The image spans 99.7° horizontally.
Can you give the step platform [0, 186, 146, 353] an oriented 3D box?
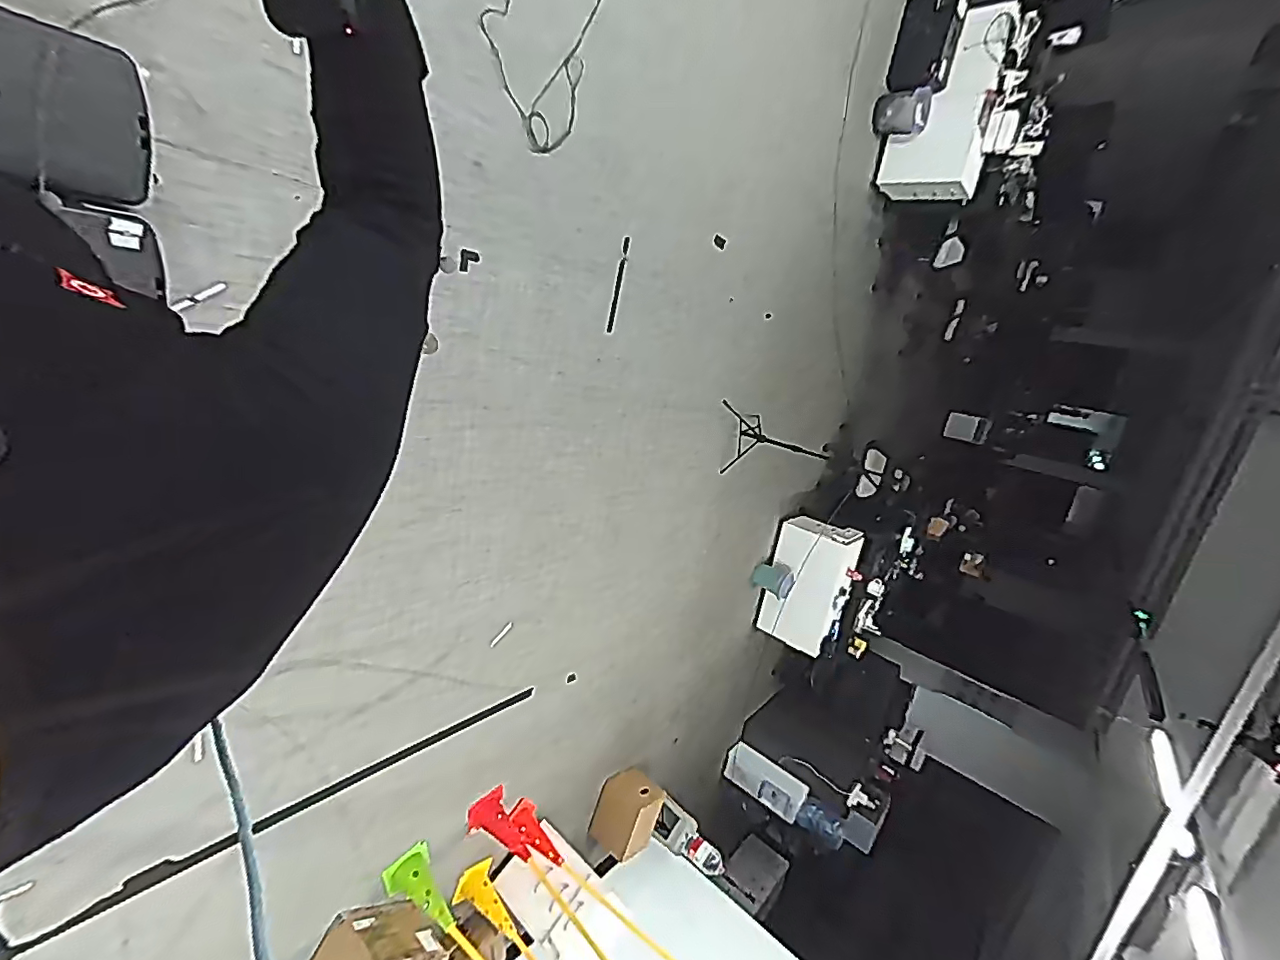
[{"bbox_3d":[-1.279,-0.378,0.896,0.684,0.204,0.286,-10,115,-48],"label":"step platform"}]
